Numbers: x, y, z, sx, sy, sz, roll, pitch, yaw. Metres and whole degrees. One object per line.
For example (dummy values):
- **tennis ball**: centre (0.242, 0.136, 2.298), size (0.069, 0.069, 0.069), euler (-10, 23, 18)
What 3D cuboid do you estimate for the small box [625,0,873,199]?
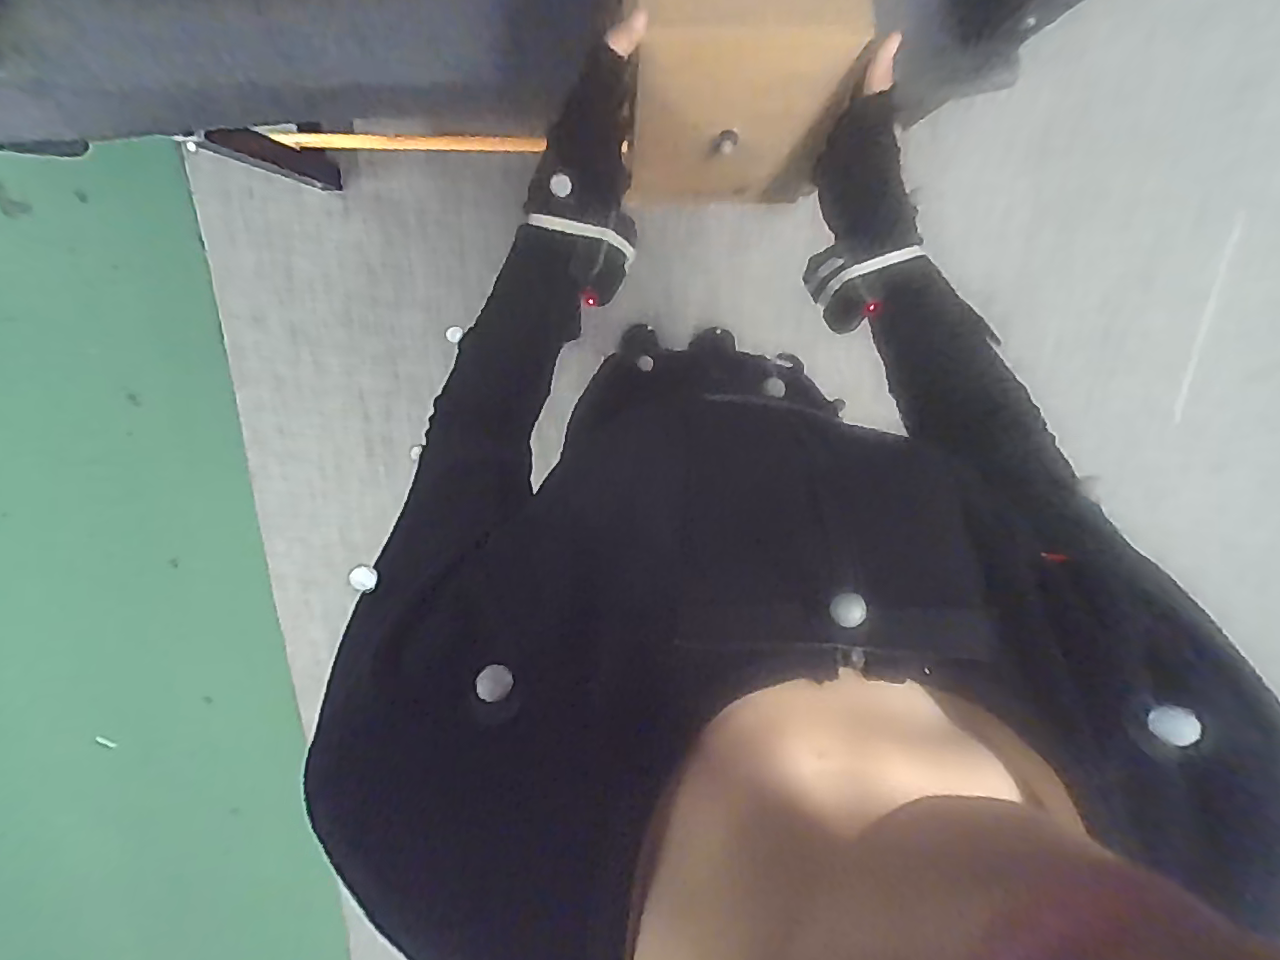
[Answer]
- **small box**: centre (0.072, -0.366, 0.460), size (0.168, 0.176, 0.179), euler (-3, 78, -3)
